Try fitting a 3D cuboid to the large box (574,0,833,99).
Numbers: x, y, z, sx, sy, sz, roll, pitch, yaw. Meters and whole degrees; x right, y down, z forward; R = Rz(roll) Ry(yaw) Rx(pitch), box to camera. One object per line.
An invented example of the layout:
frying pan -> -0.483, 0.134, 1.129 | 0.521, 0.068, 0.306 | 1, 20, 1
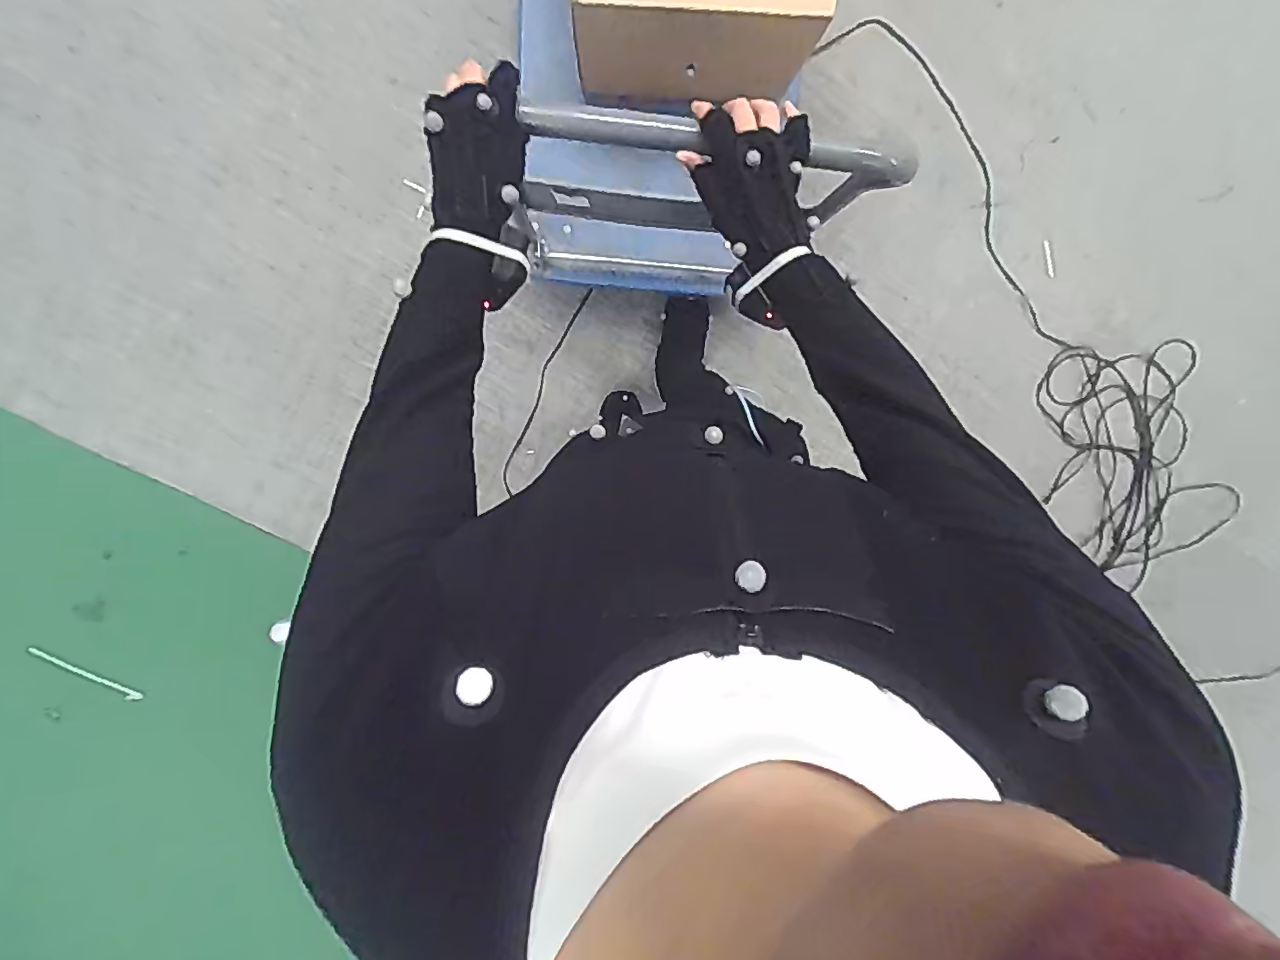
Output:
large box -> 0.099, -0.901, 0.934 | 0.408, 0.320, 0.320 | 2, 103, -2
